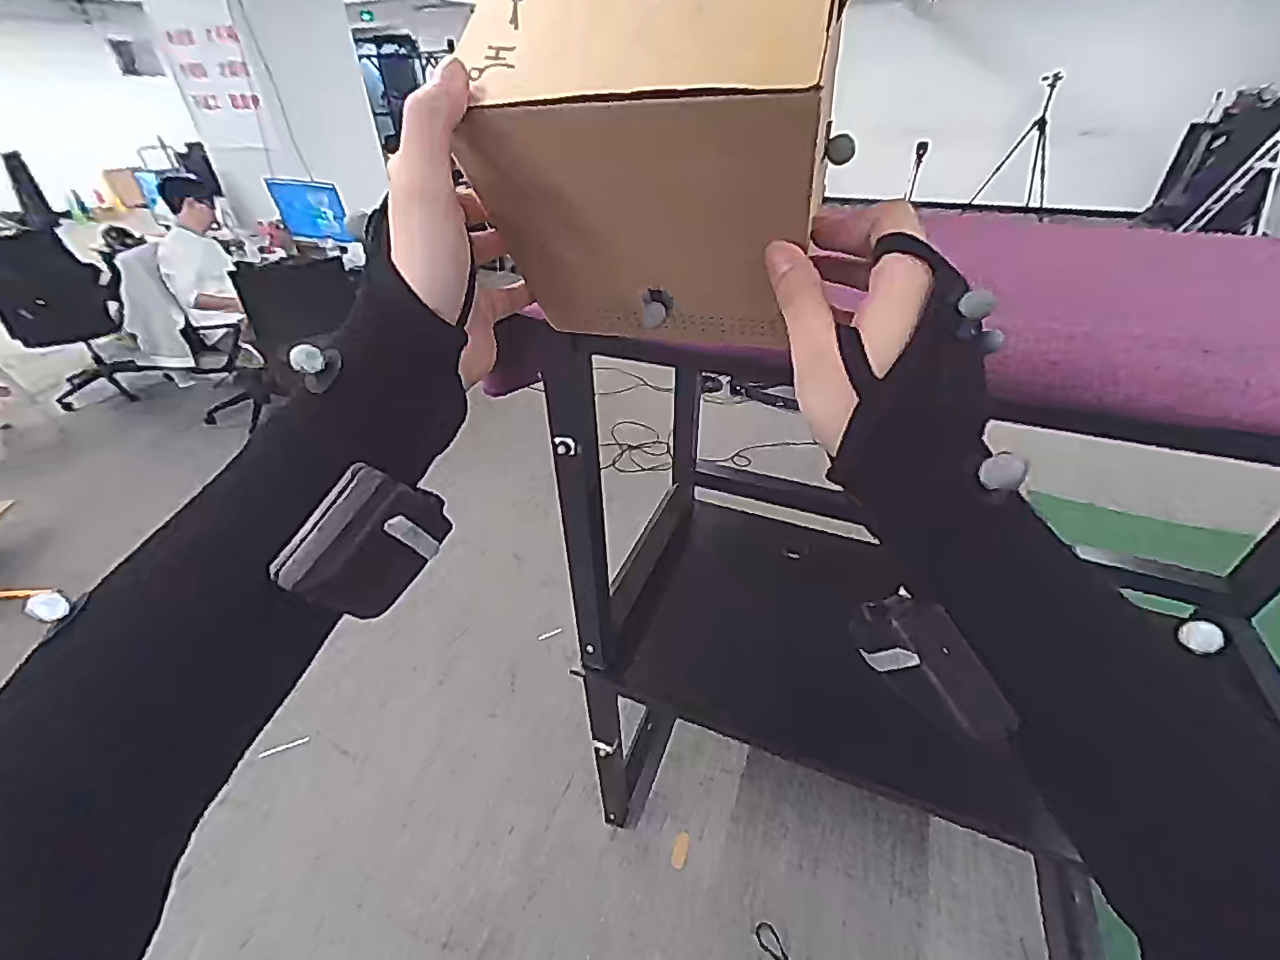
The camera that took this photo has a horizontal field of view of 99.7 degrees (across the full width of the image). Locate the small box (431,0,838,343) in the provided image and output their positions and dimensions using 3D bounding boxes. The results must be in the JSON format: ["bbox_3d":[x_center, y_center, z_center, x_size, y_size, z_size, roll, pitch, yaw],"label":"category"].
[{"bbox_3d":[0.017,-0.203,0.331,0.179,0.176,0.168,9,70,16],"label":"small box"}]
